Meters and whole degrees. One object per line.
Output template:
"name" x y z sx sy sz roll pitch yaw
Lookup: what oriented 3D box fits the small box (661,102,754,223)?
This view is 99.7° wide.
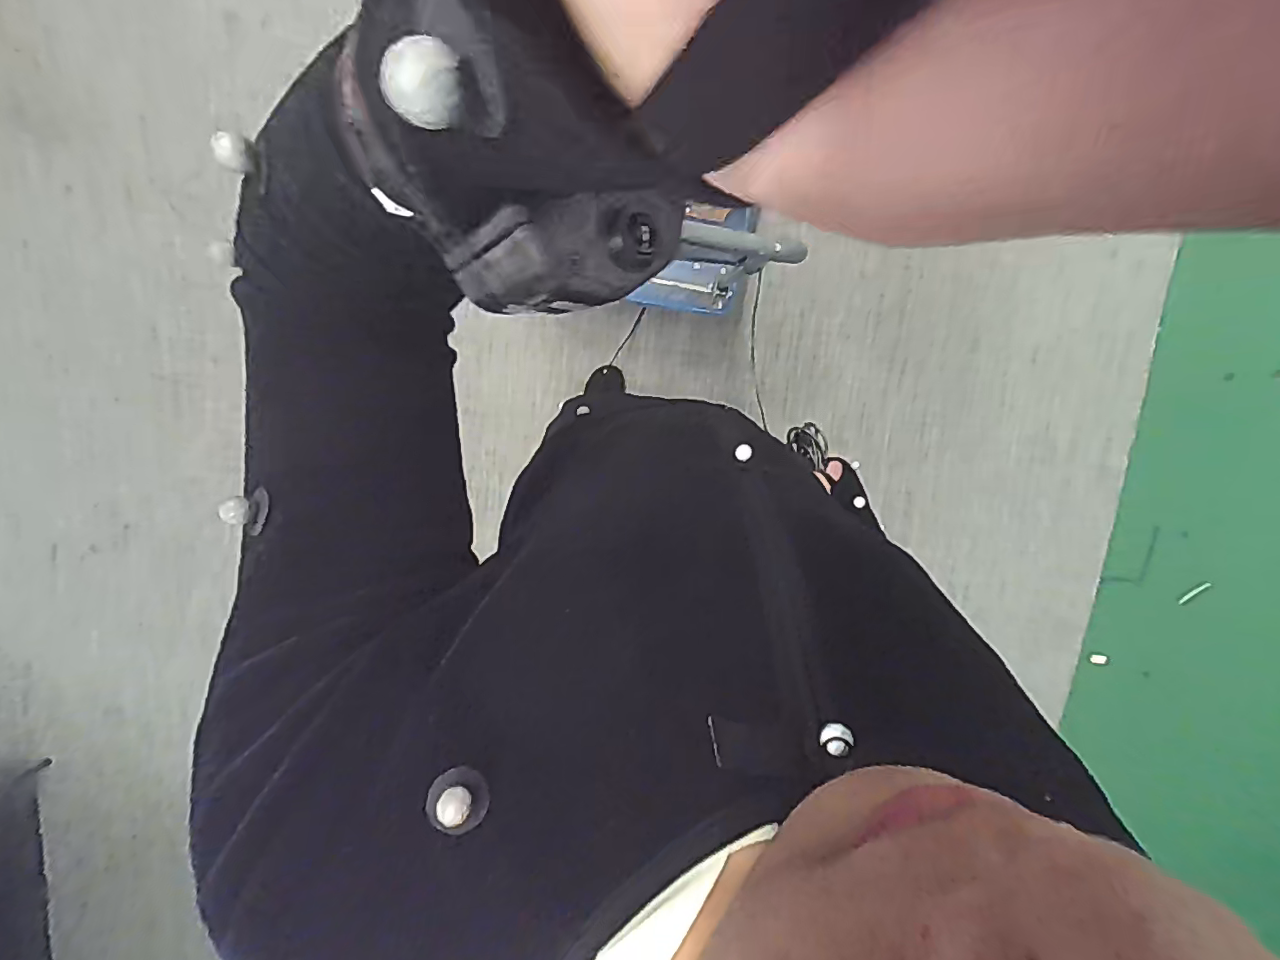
"small box" 0.147 -0.722 1.249 0.168 0.176 0.179 10 100 -5
